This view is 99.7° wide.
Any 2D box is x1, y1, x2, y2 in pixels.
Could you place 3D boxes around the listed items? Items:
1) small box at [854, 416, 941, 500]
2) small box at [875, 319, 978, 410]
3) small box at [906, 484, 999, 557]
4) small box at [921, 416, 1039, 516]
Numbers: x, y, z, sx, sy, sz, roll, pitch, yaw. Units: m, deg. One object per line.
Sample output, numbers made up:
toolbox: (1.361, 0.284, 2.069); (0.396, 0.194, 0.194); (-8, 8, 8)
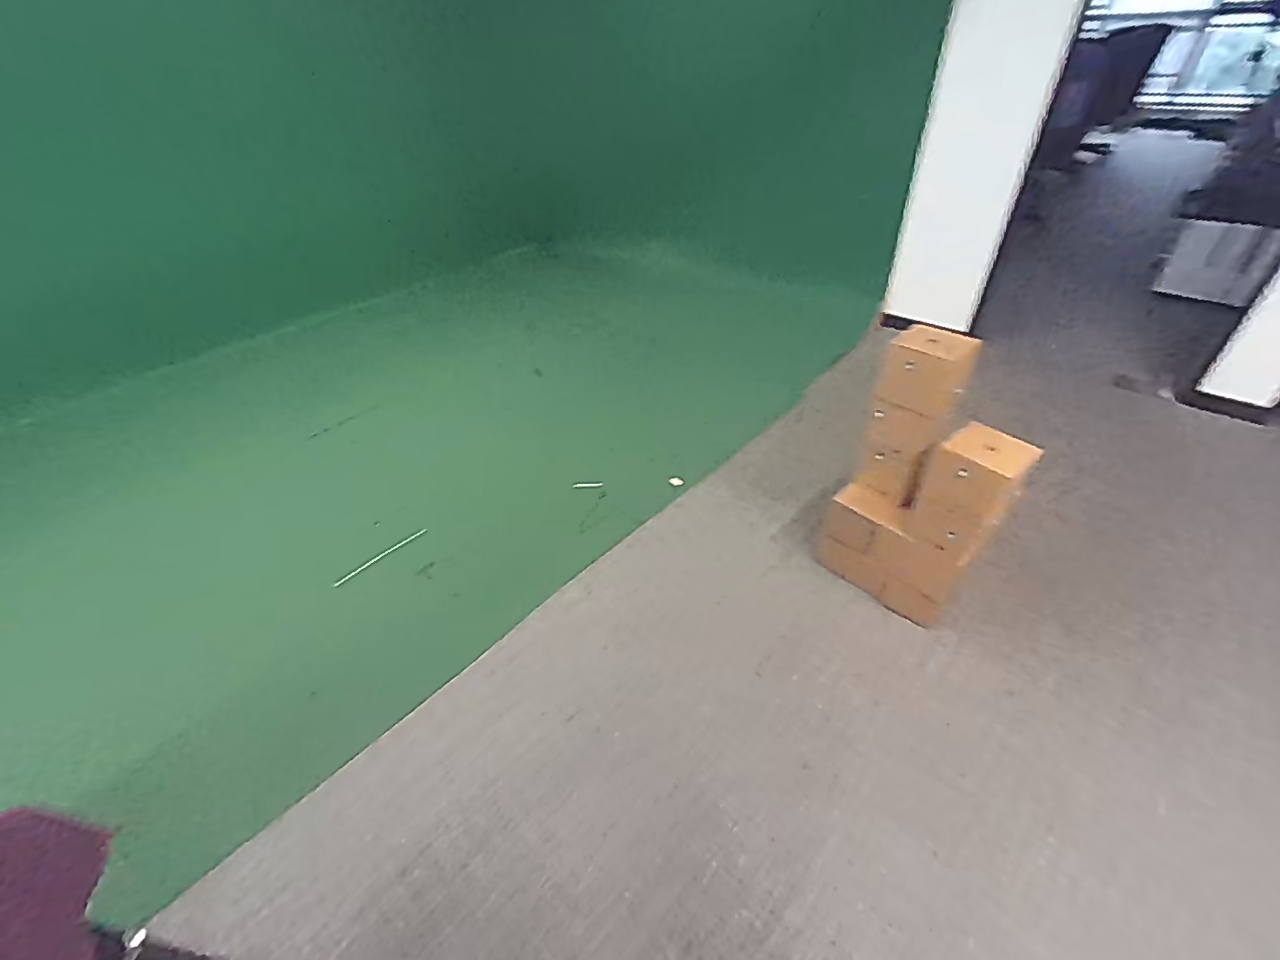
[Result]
small box: (0.799, -0.069, 1.692); (0.179, 0.176, 0.168); (-30, 46, -28)
small box: (0.771, -0.315, 1.473); (0.168, 0.176, 0.179); (-32, 47, -29)
small box: (0.873, 0.082, 1.510); (0.179, 0.176, 0.168); (-29, 48, -28)
small box: (0.866, -0.031, 1.393); (0.168, 0.176, 0.179); (-30, 48, -27)
